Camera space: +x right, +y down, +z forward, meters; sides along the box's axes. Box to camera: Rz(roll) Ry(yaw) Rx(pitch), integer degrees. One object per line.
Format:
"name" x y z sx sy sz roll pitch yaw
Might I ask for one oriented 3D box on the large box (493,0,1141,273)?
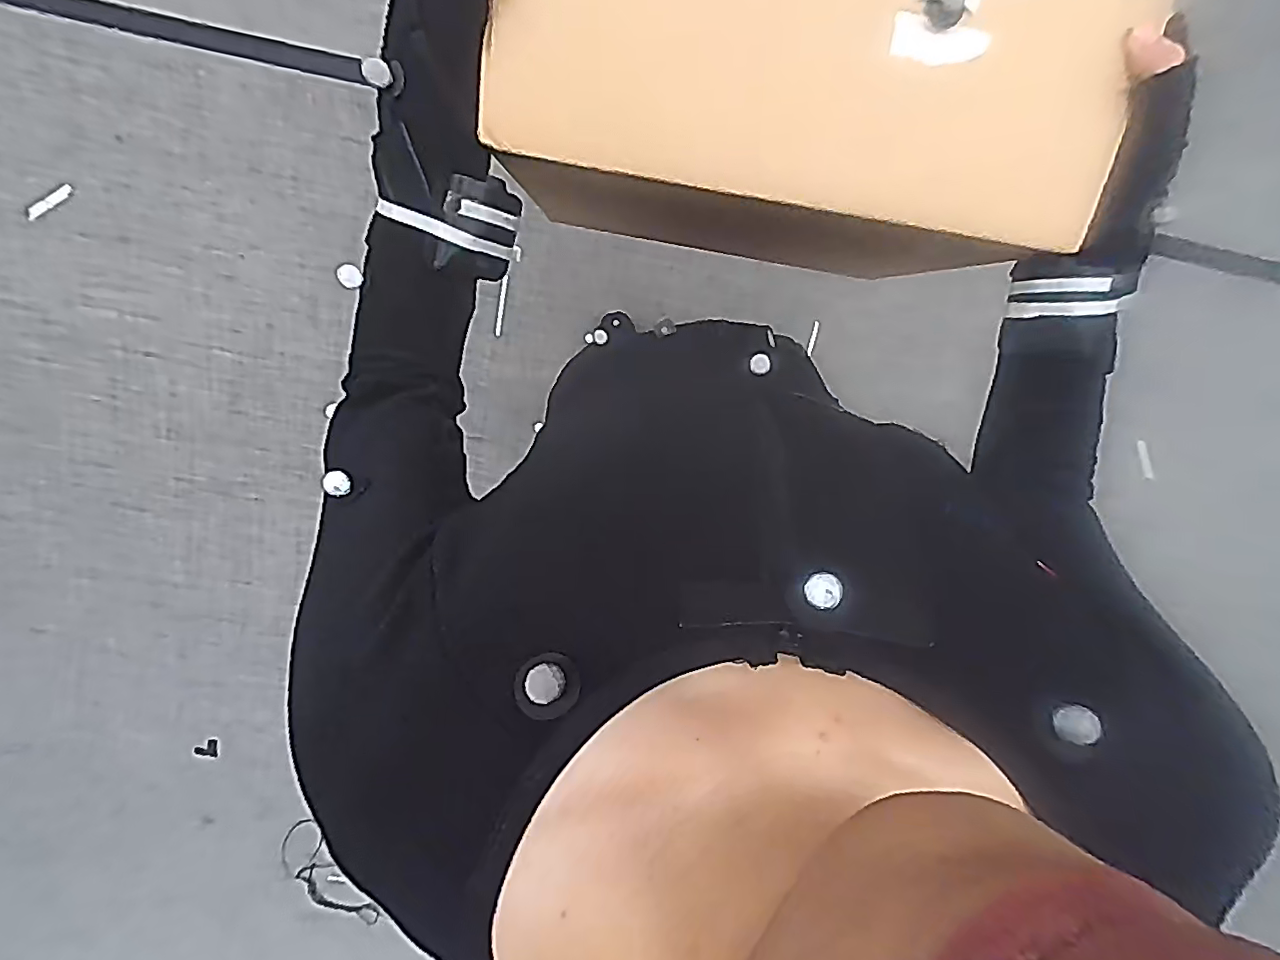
"large box" 0.113 -0.380 0.465 0.408 0.320 0.320 8 107 -4
